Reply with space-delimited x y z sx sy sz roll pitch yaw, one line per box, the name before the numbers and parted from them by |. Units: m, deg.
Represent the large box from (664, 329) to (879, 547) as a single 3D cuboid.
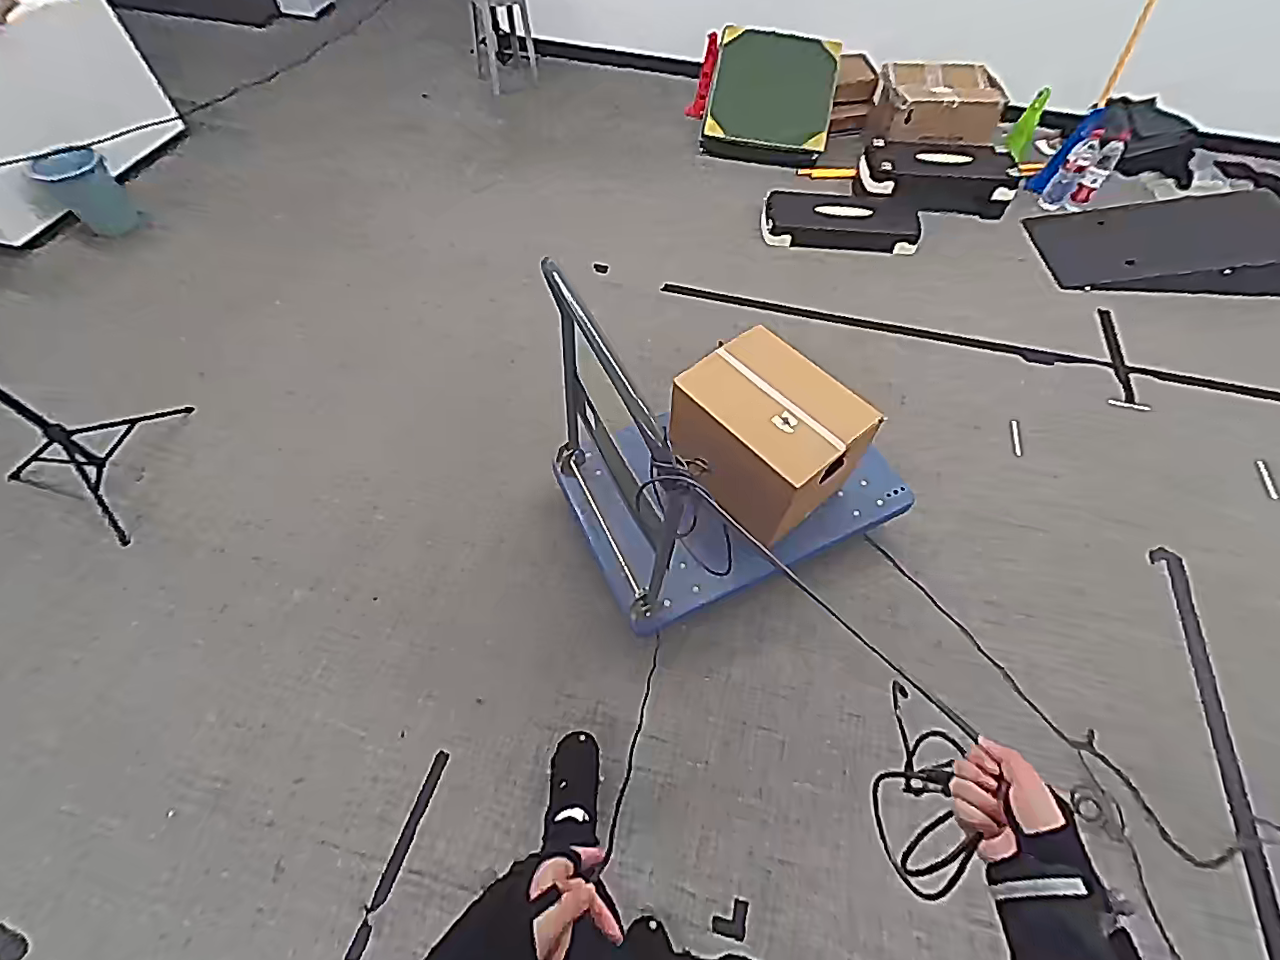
large box | 0.311 -0.109 1.406 0.320 0.320 0.408 -36 66 -20
